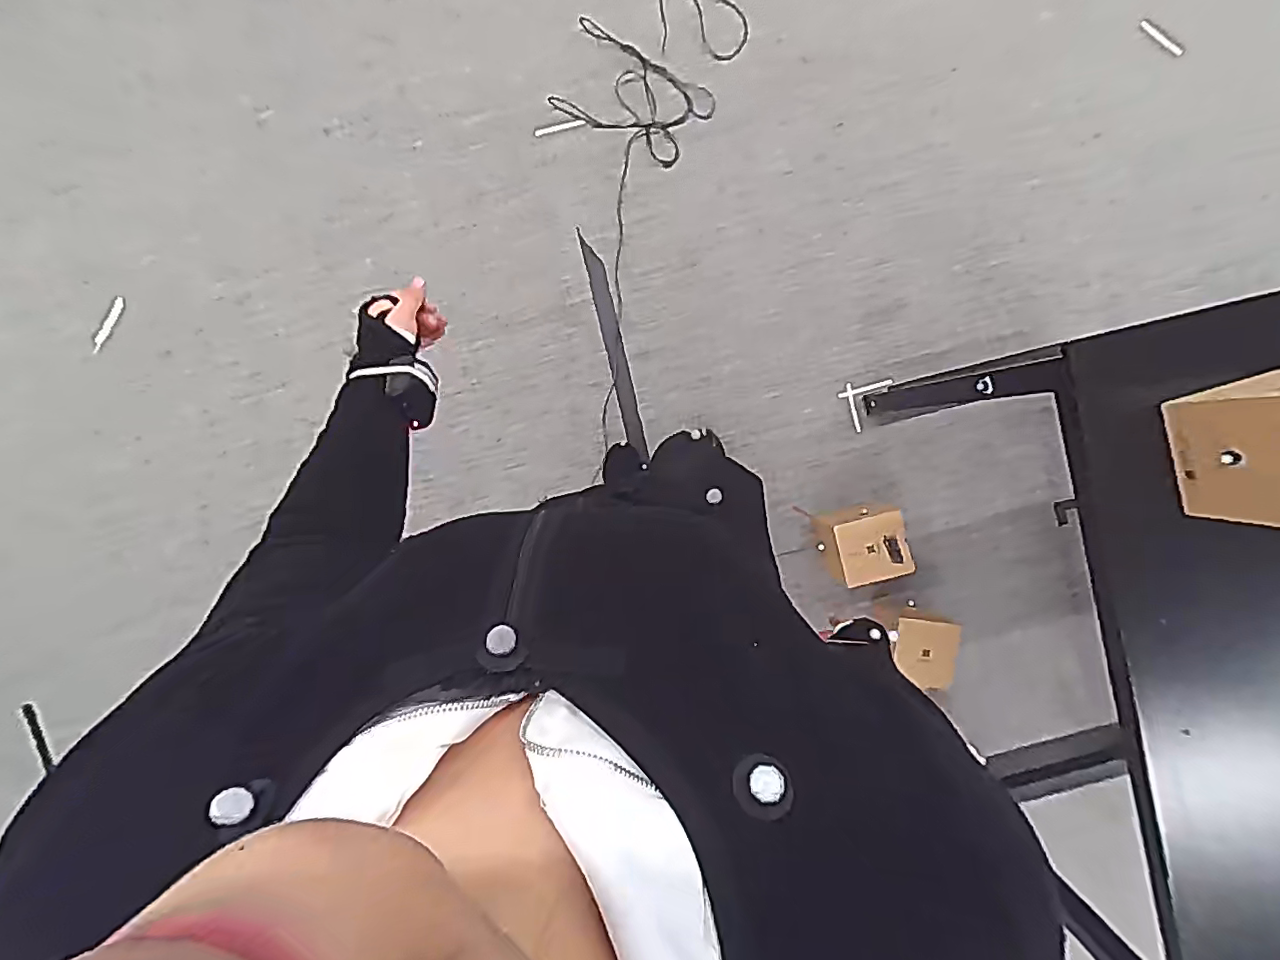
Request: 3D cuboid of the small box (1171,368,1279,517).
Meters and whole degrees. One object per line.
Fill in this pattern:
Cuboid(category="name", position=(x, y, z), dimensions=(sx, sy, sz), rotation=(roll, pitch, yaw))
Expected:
Cuboid(category="small box", position=(0.836, -0.052, 0.688), dimensions=(0.179, 0.176, 0.168), rotation=(-16, 94, 0))

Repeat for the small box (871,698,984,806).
Cuboid(category="small box", position=(0.771, 0.727, 1.469), dimensions=(0.179, 0.176, 0.168), rotation=(29, 93, -2))

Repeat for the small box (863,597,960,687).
Cuboid(category="small box", position=(0.720, 0.429, 1.451), dimensions=(0.168, 0.176, 0.179), rotation=(7, 93, -2))

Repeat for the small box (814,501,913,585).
Cuboid(category="small box", position=(0.584, 0.160, 1.431), dimensions=(0.179, 0.176, 0.168), rotation=(-15, 94, 2))
